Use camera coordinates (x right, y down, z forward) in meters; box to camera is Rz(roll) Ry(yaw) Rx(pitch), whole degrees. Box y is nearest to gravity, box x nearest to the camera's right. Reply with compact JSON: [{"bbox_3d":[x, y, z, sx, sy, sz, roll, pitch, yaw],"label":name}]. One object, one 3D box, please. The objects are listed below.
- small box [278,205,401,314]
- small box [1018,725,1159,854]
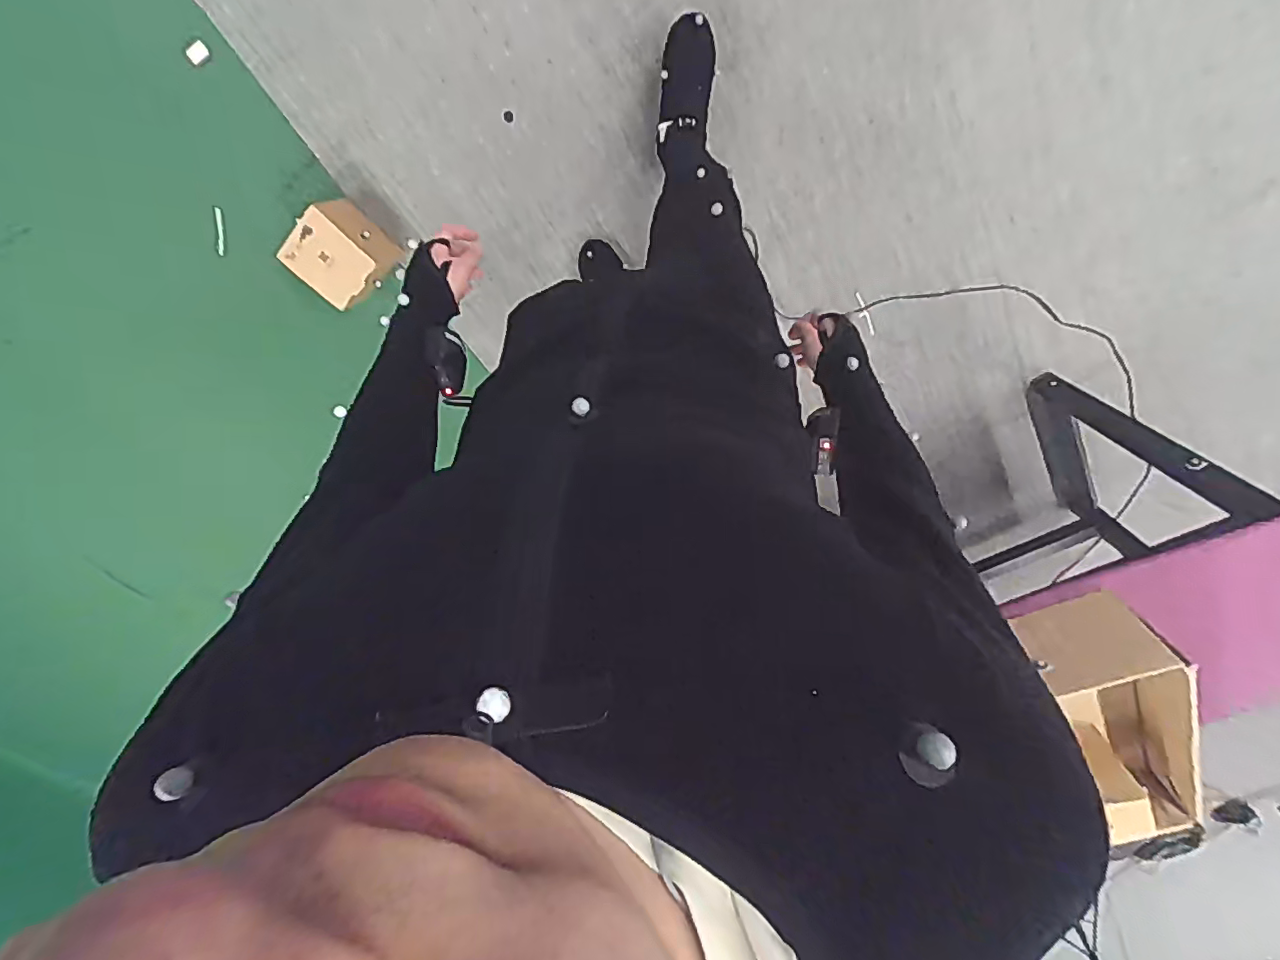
[{"bbox_3d":[-0.729,-0.549,1.334,0.168,0.176,0.179,-38,115,21],"label":"small box"},{"bbox_3d":[0.972,0.674,1.182,0.168,0.176,0.179,-28,116,17],"label":"small box"}]
